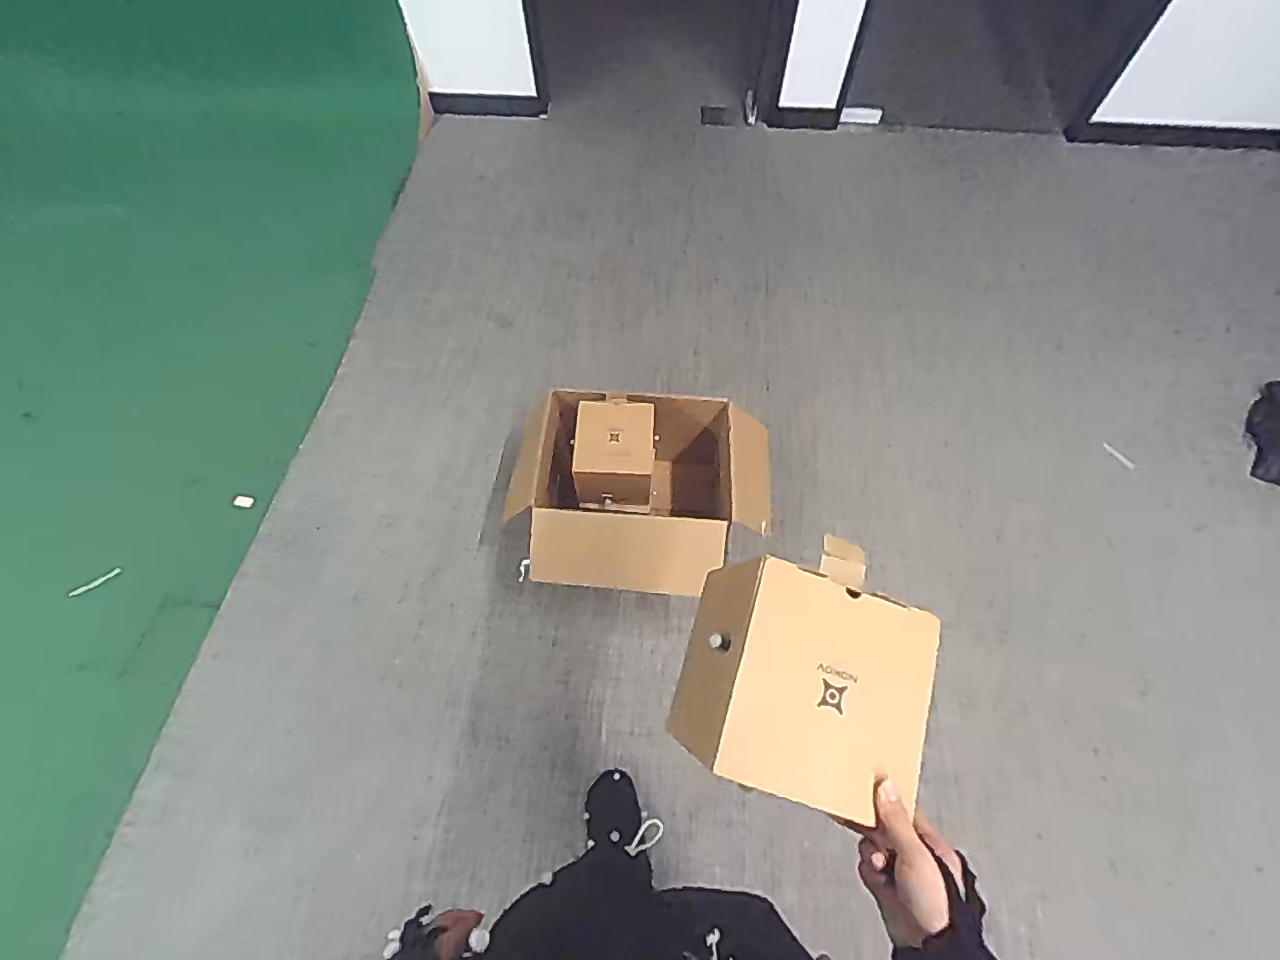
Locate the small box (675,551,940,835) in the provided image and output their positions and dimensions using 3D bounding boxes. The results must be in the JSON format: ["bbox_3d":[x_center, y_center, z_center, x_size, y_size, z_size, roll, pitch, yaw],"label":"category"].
[{"bbox_3d":[0.140,0.186,0.504,0.168,0.176,0.179,20,71,-3],"label":"small box"}]

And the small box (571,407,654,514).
[{"bbox_3d":[-0.058,-0.040,1.201,0.168,0.176,0.179,2,63,0],"label":"small box"}]
